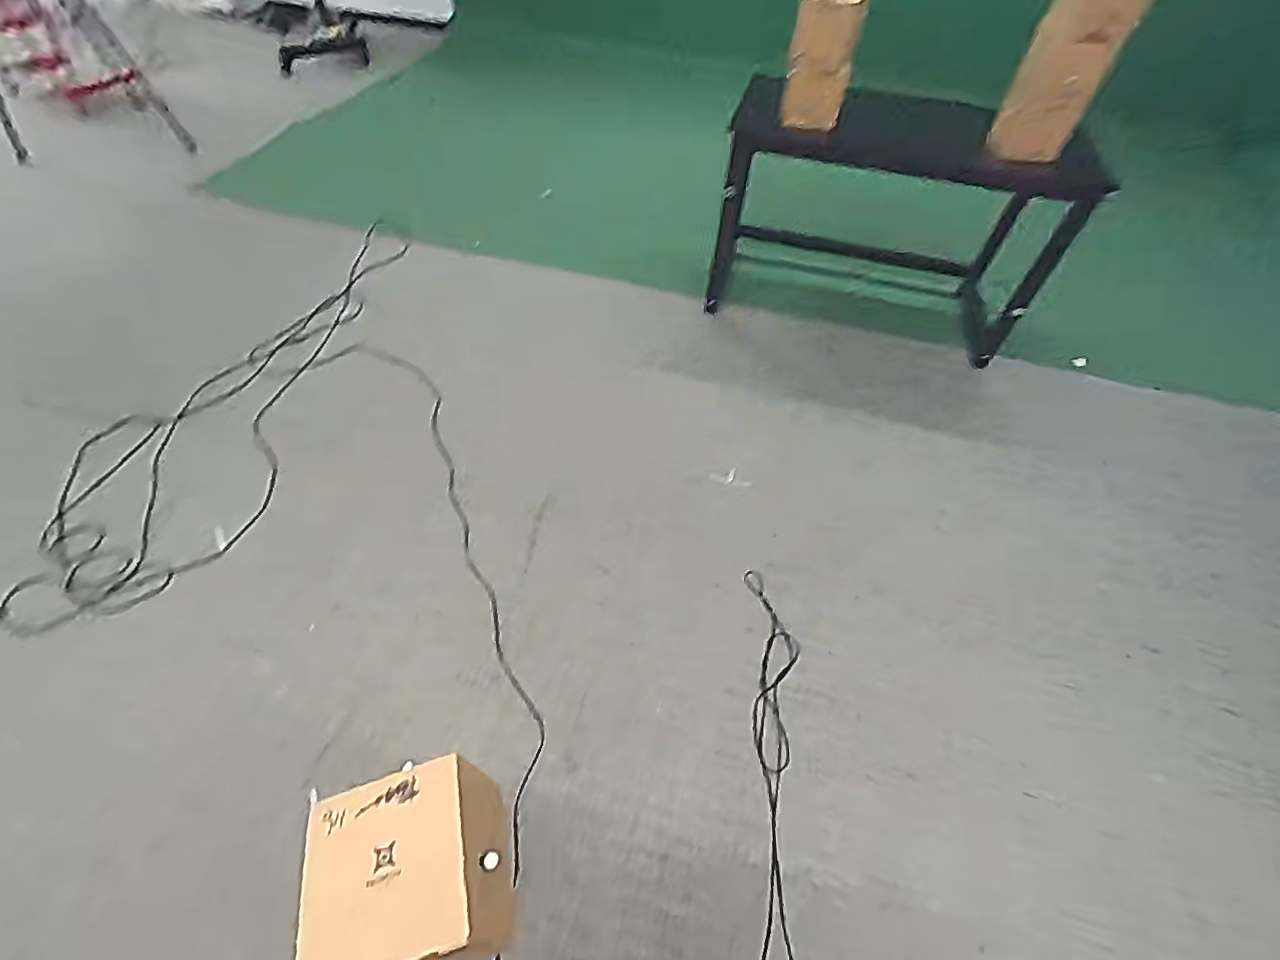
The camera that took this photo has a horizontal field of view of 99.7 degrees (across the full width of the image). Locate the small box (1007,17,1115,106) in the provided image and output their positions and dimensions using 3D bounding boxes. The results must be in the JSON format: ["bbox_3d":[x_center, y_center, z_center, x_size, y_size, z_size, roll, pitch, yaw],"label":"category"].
[{"bbox_3d":[1.238,-1.245,1.609,0.168,0.176,0.179,7,52,3],"label":"small box"}]

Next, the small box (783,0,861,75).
[{"bbox_3d":[0.566,-1.404,1.699,0.168,0.176,0.179,25,54,14],"label":"small box"}]

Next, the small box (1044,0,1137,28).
[{"bbox_3d":[1.252,-1.355,1.467,0.168,0.176,0.179,7,51,3],"label":"small box"}]

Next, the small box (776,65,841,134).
[{"bbox_3d":[0.562,-1.302,1.828,0.168,0.176,0.179,7,53,2],"label":"small box"}]

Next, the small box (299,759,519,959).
[{"bbox_3d":[-0.246,0.449,0.607,0.168,0.176,0.179,-18,49,-7],"label":"small box"}]
